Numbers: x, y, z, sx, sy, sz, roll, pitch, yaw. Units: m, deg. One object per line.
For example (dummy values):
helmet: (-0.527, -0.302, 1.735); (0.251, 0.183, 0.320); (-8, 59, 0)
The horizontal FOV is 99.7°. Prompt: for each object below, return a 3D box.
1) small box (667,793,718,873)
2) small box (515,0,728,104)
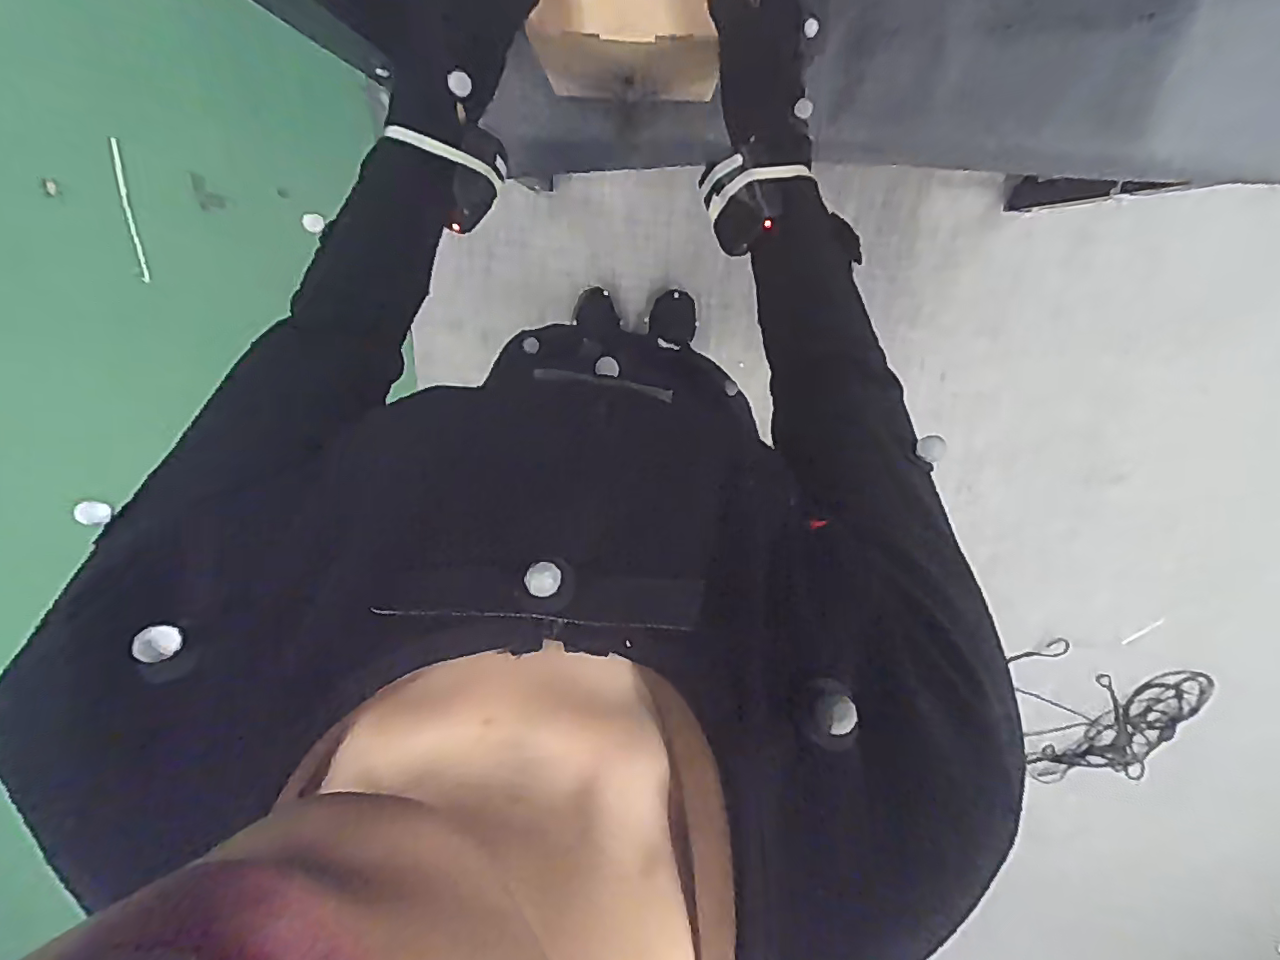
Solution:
small box: (0.181, 1.245, 1.907); (0.168, 0.176, 0.179); (0, 110, 1)
small box: (-0.011, -0.456, 0.467); (0.168, 0.176, 0.179); (3, 111, 0)
